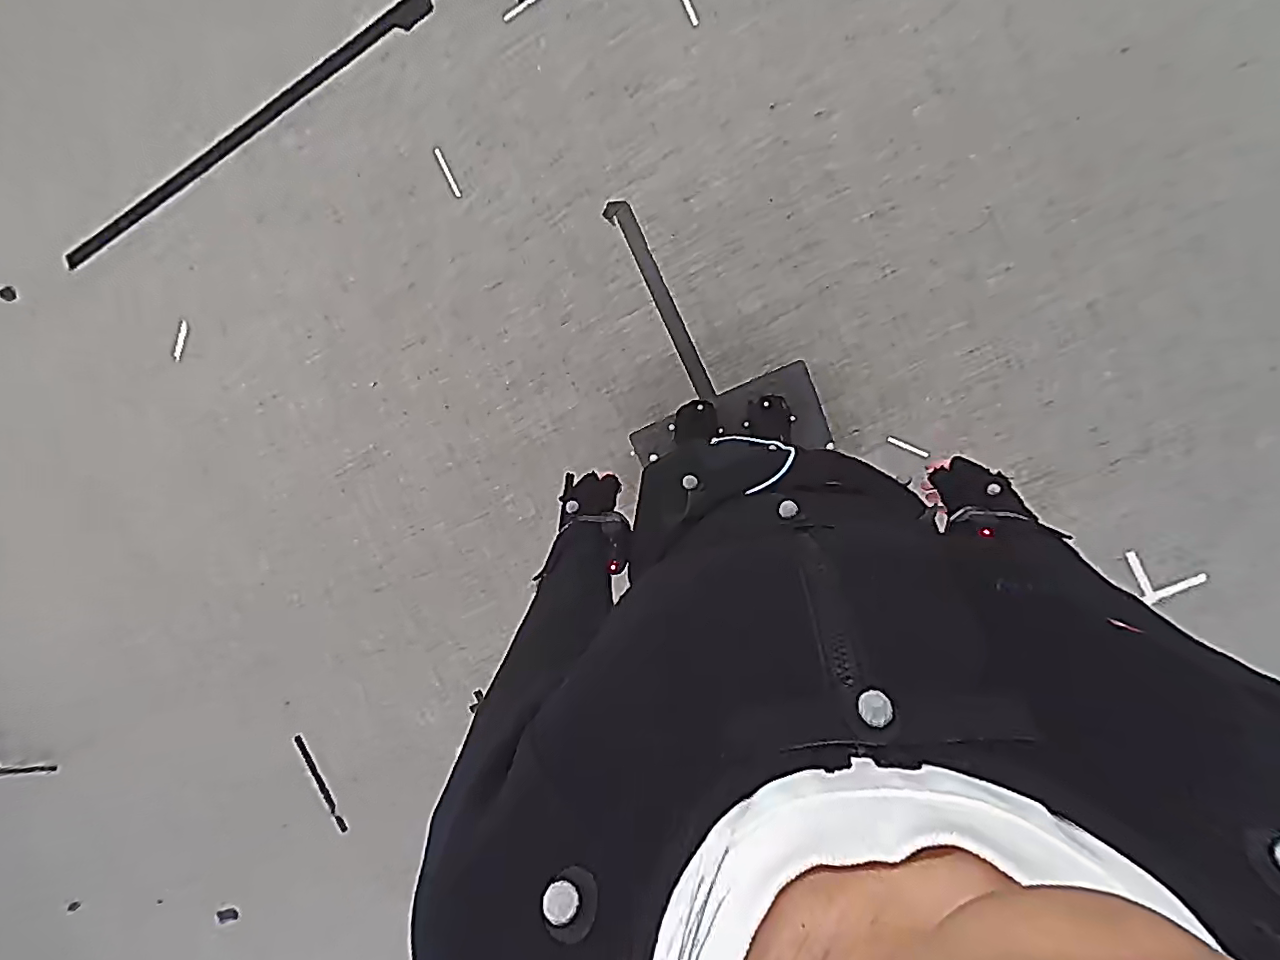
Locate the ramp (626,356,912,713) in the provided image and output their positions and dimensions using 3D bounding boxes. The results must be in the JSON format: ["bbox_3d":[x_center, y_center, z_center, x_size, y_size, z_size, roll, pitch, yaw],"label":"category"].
[{"bbox_3d":[0.388,0.206,1.526,0.509,0.206,0.991,-25,95,10],"label":"ramp"}]
